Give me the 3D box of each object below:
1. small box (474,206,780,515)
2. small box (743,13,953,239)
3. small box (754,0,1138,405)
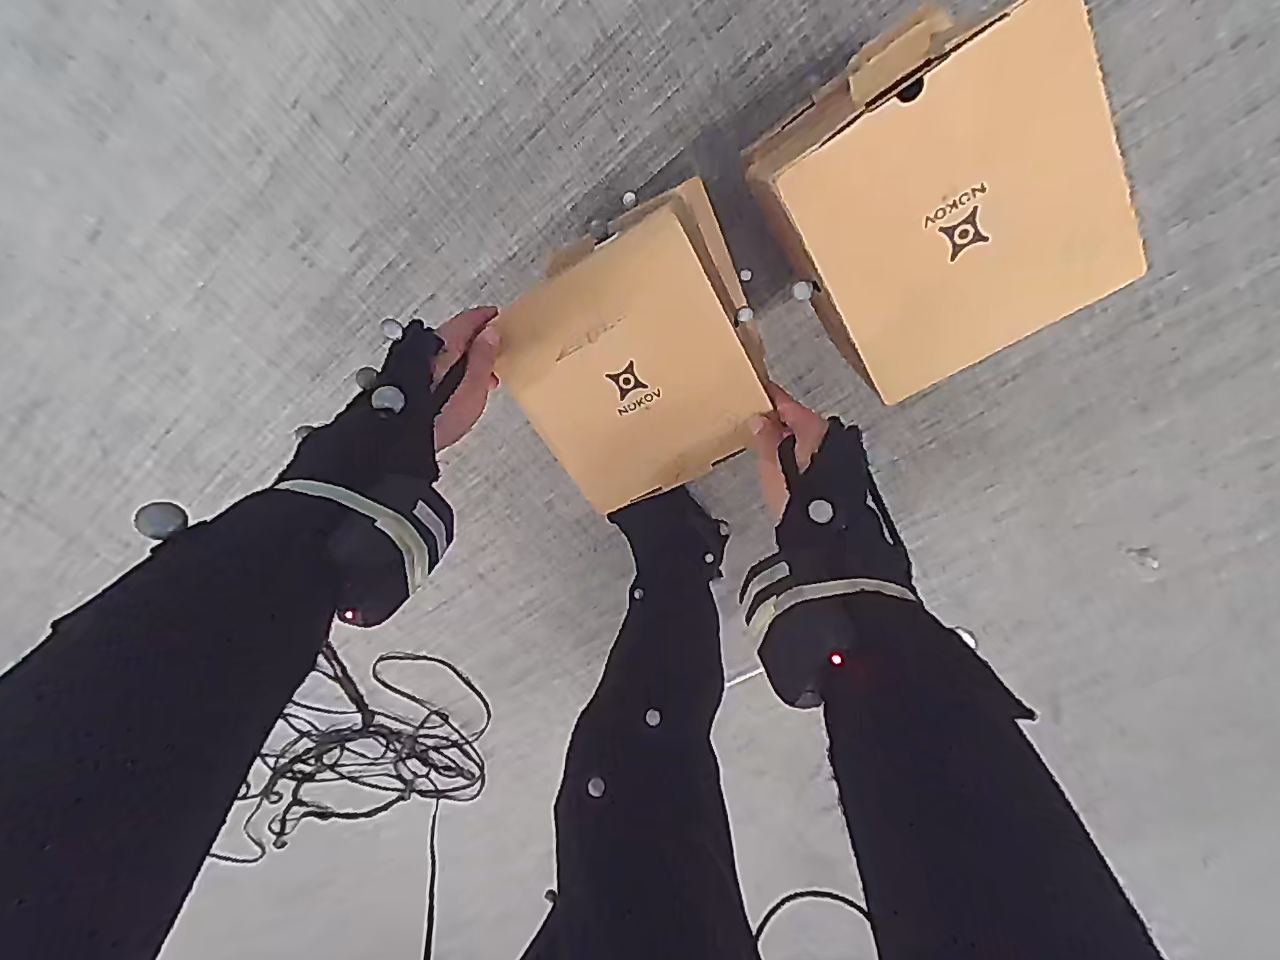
[{"bbox_3d":[0.001,-0.107,0.459,0.168,0.176,0.179,-26,113,18],"label":"small box"},{"bbox_3d":[0.214,-0.287,0.530,0.168,0.176,0.179,-30,112,20],"label":"small box"},{"bbox_3d":[0.200,-0.191,0.397,0.168,0.176,0.179,-29,113,19],"label":"small box"}]
